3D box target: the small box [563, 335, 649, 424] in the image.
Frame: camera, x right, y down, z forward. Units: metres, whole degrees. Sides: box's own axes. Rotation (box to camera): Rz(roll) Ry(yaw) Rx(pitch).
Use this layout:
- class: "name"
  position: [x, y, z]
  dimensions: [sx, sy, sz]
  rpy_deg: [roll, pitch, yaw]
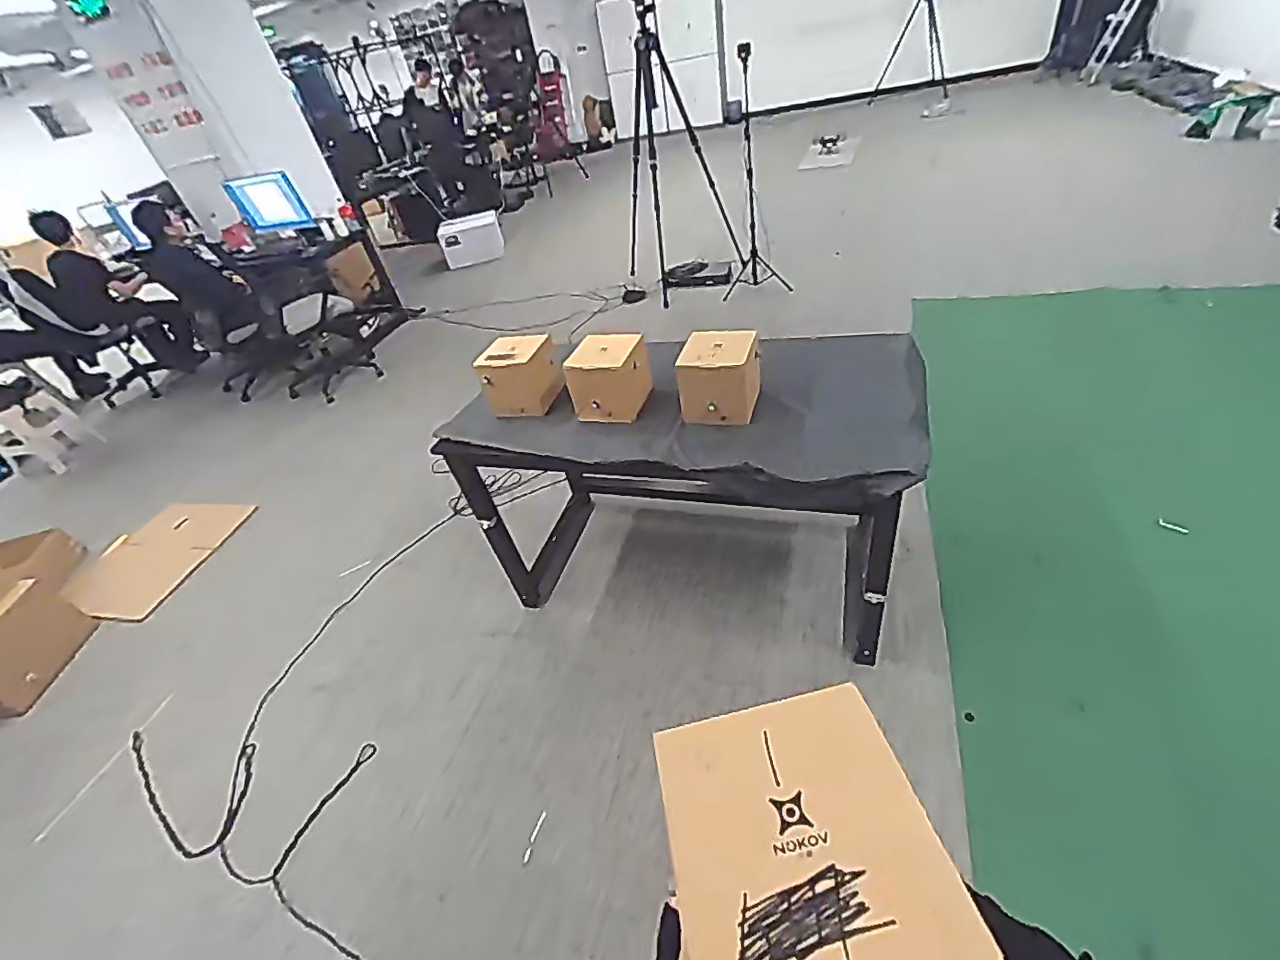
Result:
- class: "small box"
  position: [-0.081, -0.272, 1.447]
  dimensions: [0.168, 0.176, 0.179]
  rpy_deg: [5, 43, 20]

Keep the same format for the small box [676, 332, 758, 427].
- class: "small box"
  position: [0.198, -0.252, 1.344]
  dimensions: [0.168, 0.176, 0.179]
  rpy_deg: [5, 43, 21]

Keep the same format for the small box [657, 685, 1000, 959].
- class: "small box"
  position: [0.119, 0.290, 0.397]
  dimensions: [0.168, 0.176, 0.179]
  rpy_deg: [-14, 35, 0]
